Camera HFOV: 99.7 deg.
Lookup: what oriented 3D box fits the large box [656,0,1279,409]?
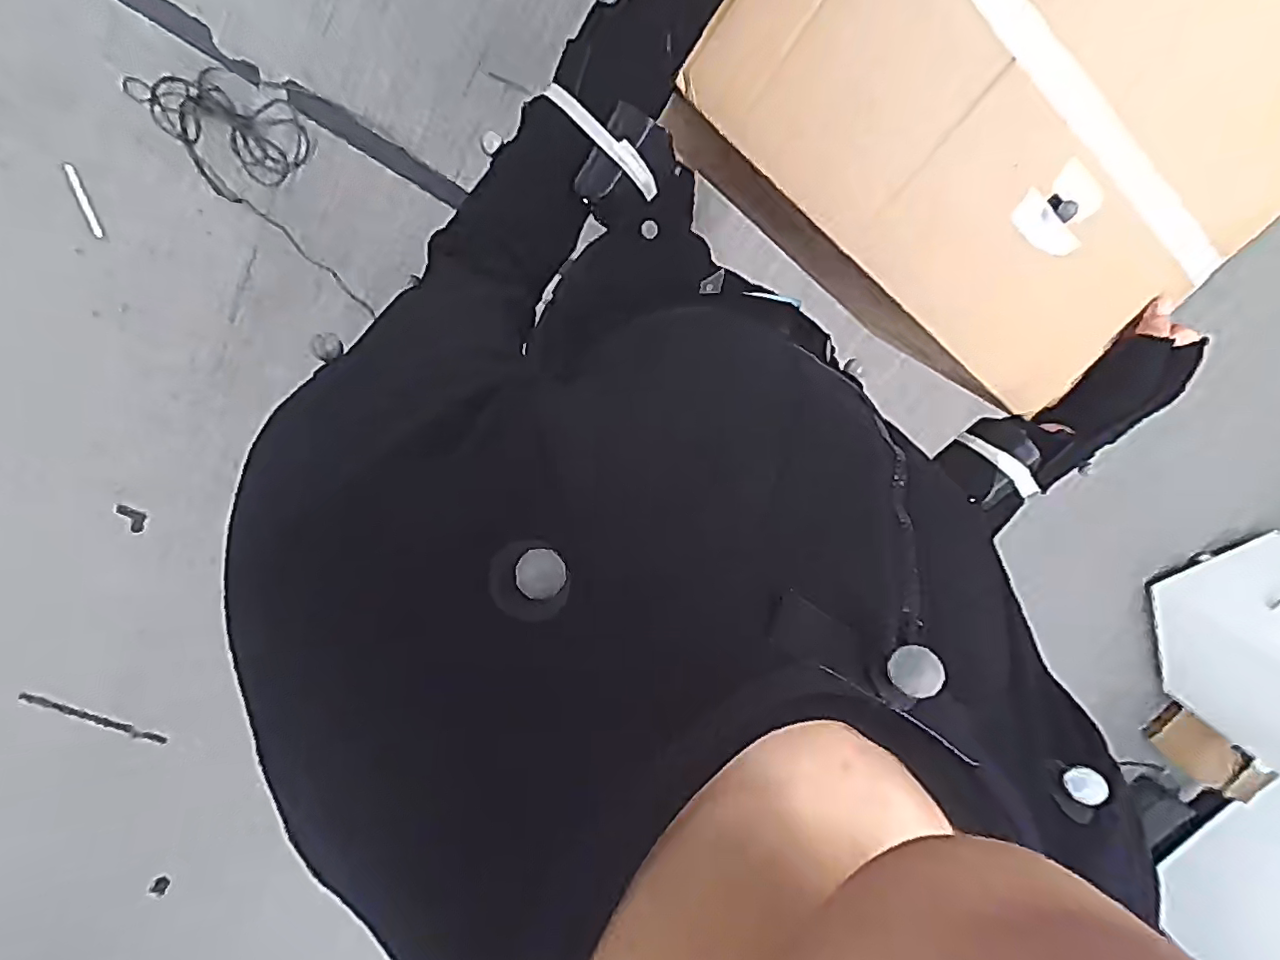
[{"bbox_3d":[0.270,-0.340,0.499,0.408,0.320,0.320,34,113,-19],"label":"large box"}]
